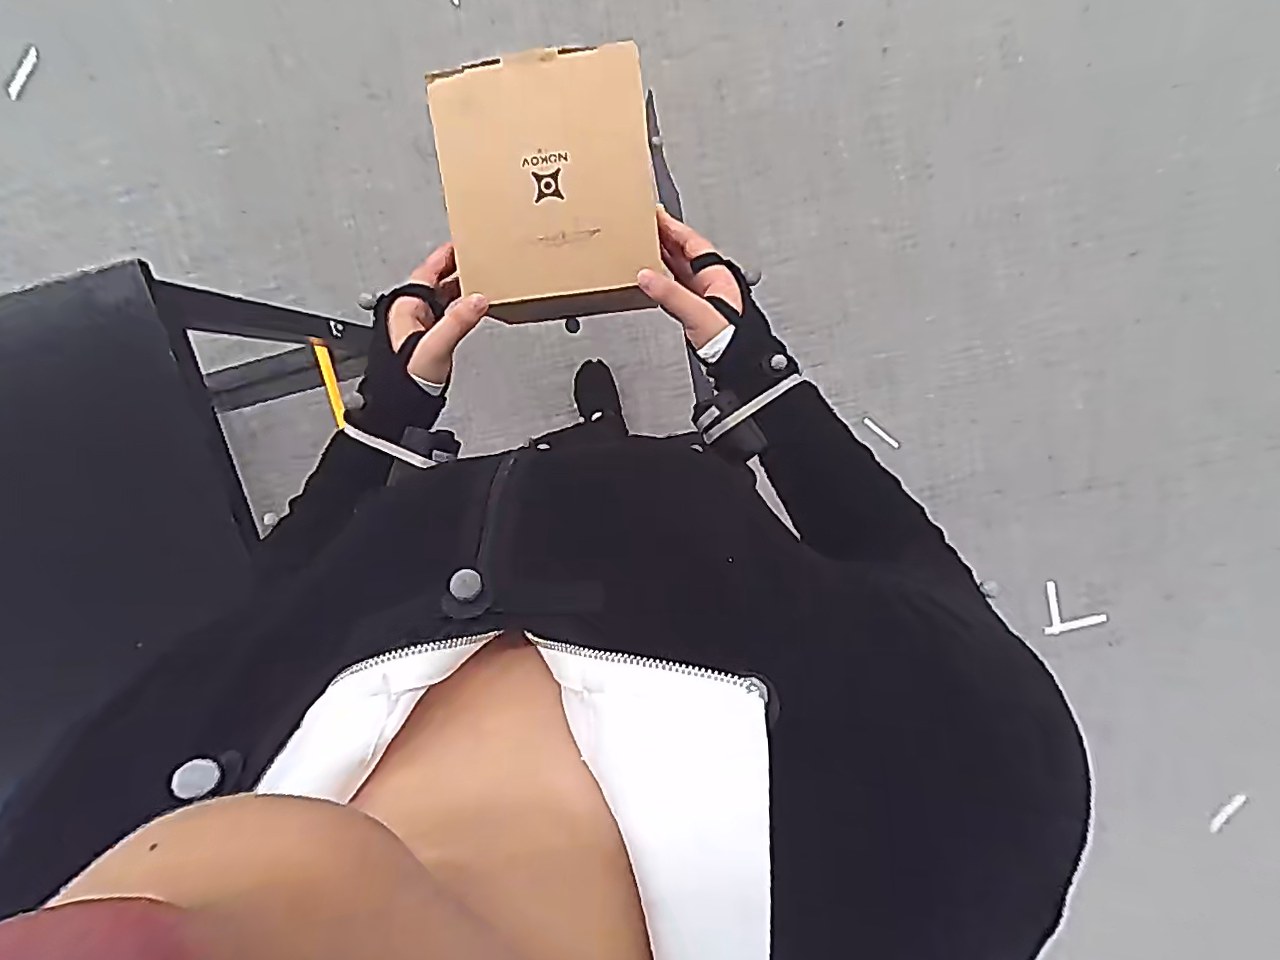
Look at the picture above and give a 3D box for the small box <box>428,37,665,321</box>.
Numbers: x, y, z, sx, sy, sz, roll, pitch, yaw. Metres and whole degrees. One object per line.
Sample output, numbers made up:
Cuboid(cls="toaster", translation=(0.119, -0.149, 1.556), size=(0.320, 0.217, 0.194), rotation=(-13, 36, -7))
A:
Cuboid(cls="small box", translation=(-0.069, -0.251, 0.496), size=(0.168, 0.176, 0.179), rotation=(-6, 102, 3))
